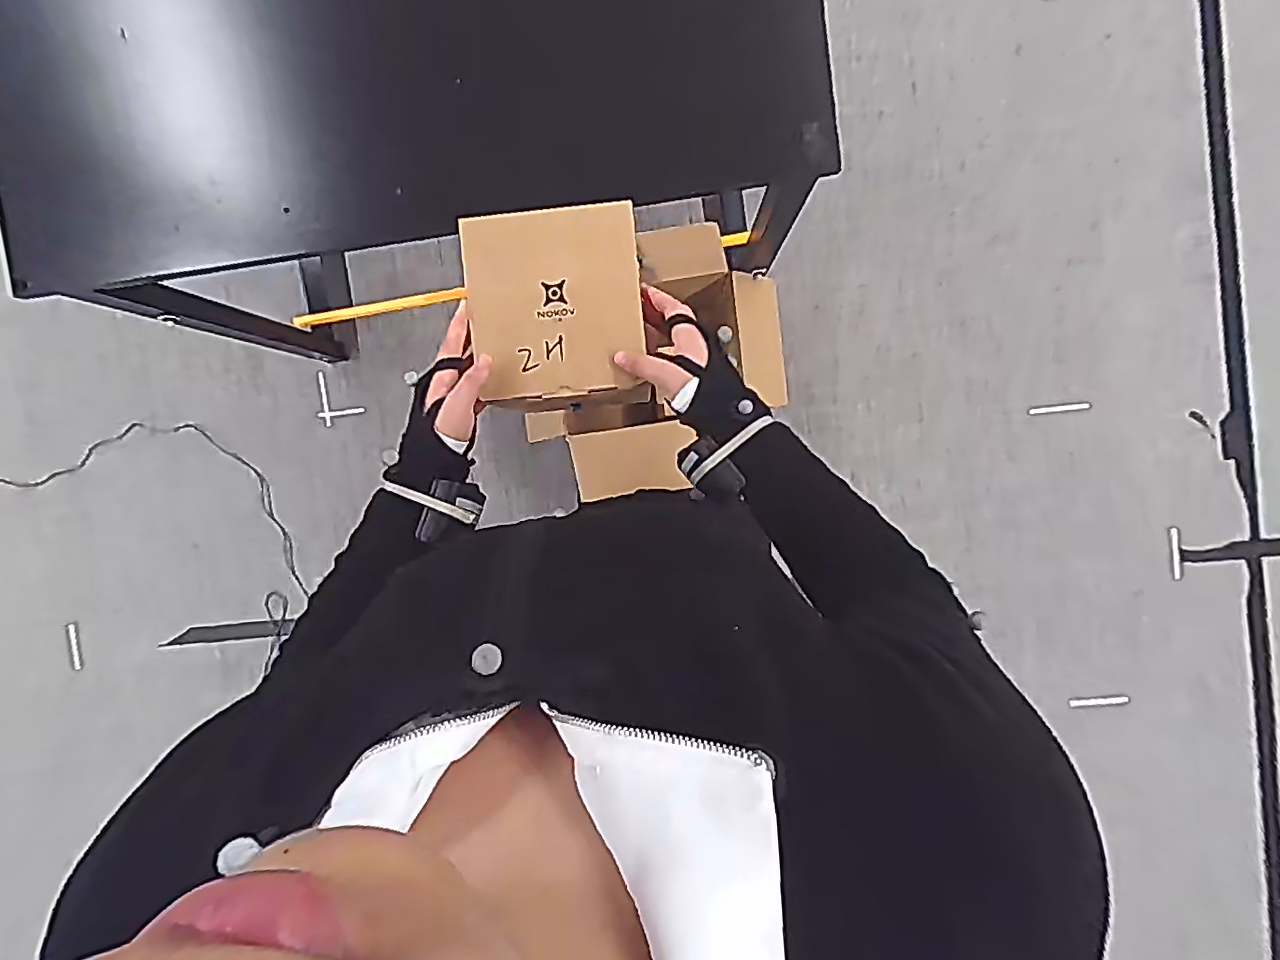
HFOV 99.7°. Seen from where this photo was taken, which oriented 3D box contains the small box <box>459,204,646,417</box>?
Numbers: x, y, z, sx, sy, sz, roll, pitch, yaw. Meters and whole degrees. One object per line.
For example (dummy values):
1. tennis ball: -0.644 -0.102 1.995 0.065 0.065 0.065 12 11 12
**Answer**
1. small box: -0.082 -0.168 0.588 0.168 0.176 0.179 -5 92 1
